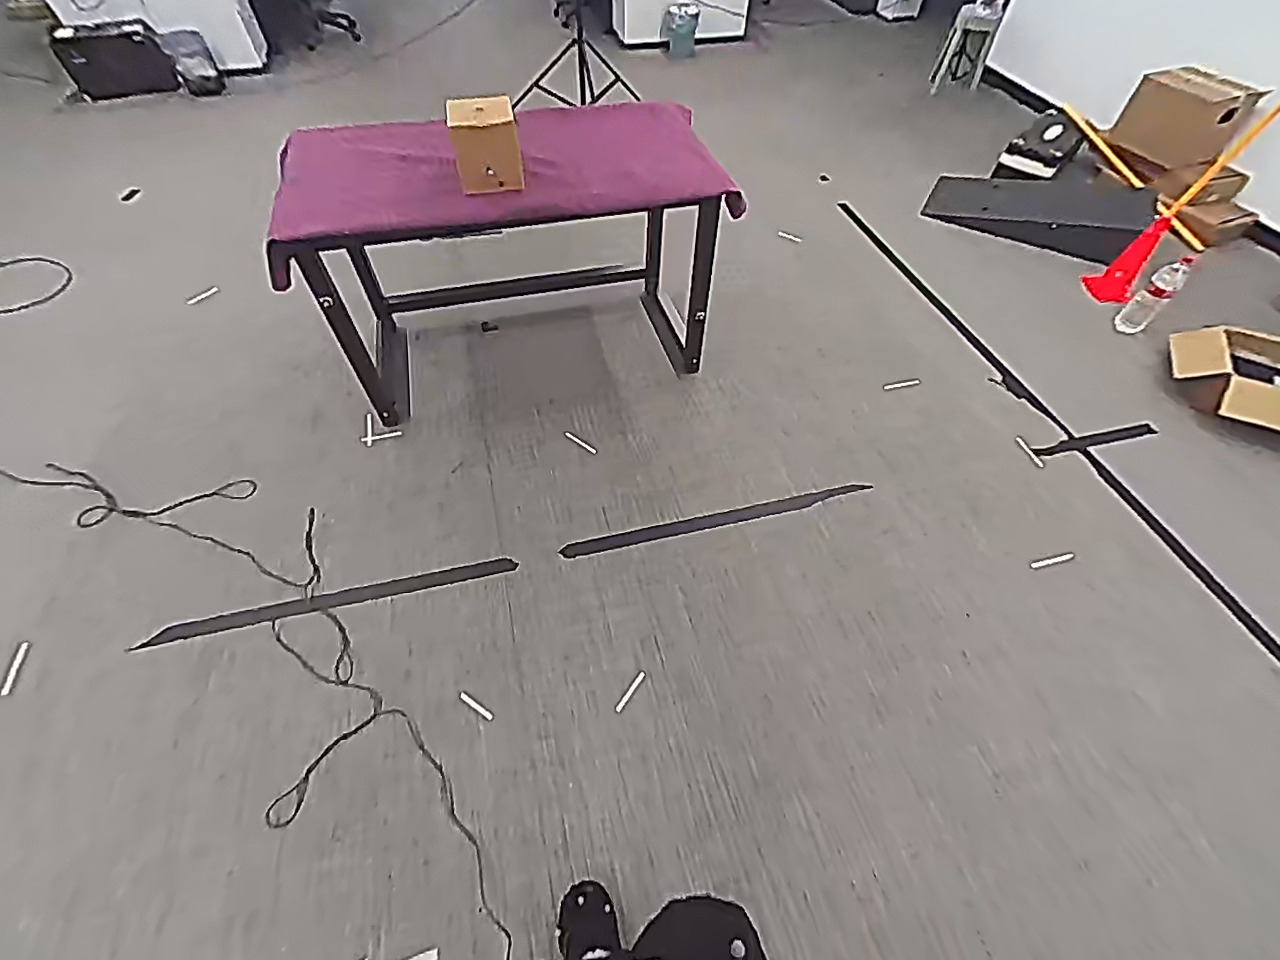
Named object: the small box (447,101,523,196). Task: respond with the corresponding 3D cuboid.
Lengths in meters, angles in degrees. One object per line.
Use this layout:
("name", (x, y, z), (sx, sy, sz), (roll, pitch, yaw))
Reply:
("small box", (-0.414, -0.889, 1.452), (0.168, 0.176, 0.179), (-10, 54, -8))
